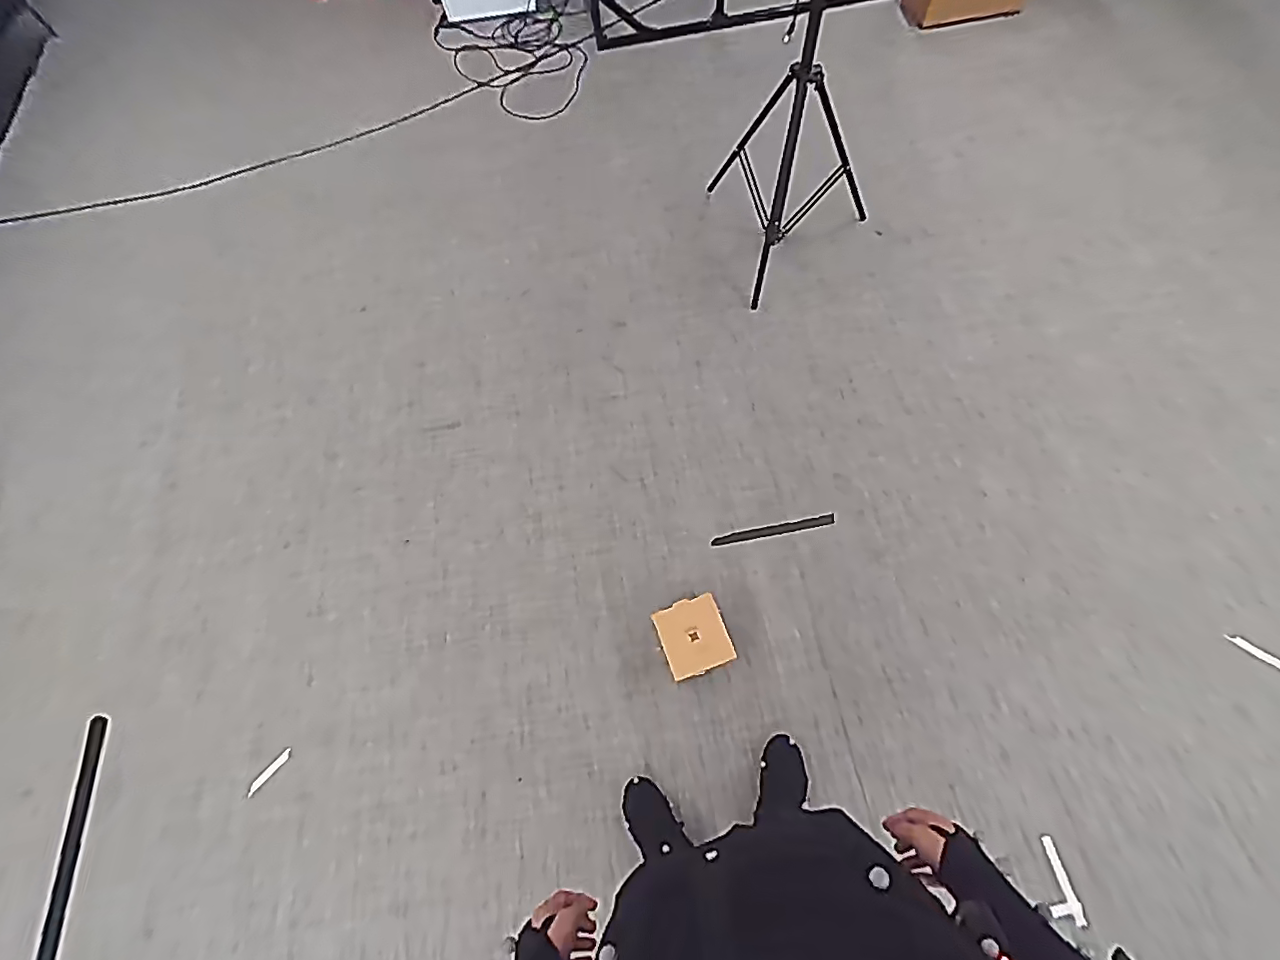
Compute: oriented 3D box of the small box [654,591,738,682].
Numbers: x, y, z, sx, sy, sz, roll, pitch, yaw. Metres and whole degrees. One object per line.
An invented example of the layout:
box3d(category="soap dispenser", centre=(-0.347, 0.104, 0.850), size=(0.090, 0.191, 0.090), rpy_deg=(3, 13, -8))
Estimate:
box3d(category="small box", centre=(0.143, 0.414, 1.416), size=(0.168, 0.176, 0.179), rpy_deg=(-20, 67, -3))
